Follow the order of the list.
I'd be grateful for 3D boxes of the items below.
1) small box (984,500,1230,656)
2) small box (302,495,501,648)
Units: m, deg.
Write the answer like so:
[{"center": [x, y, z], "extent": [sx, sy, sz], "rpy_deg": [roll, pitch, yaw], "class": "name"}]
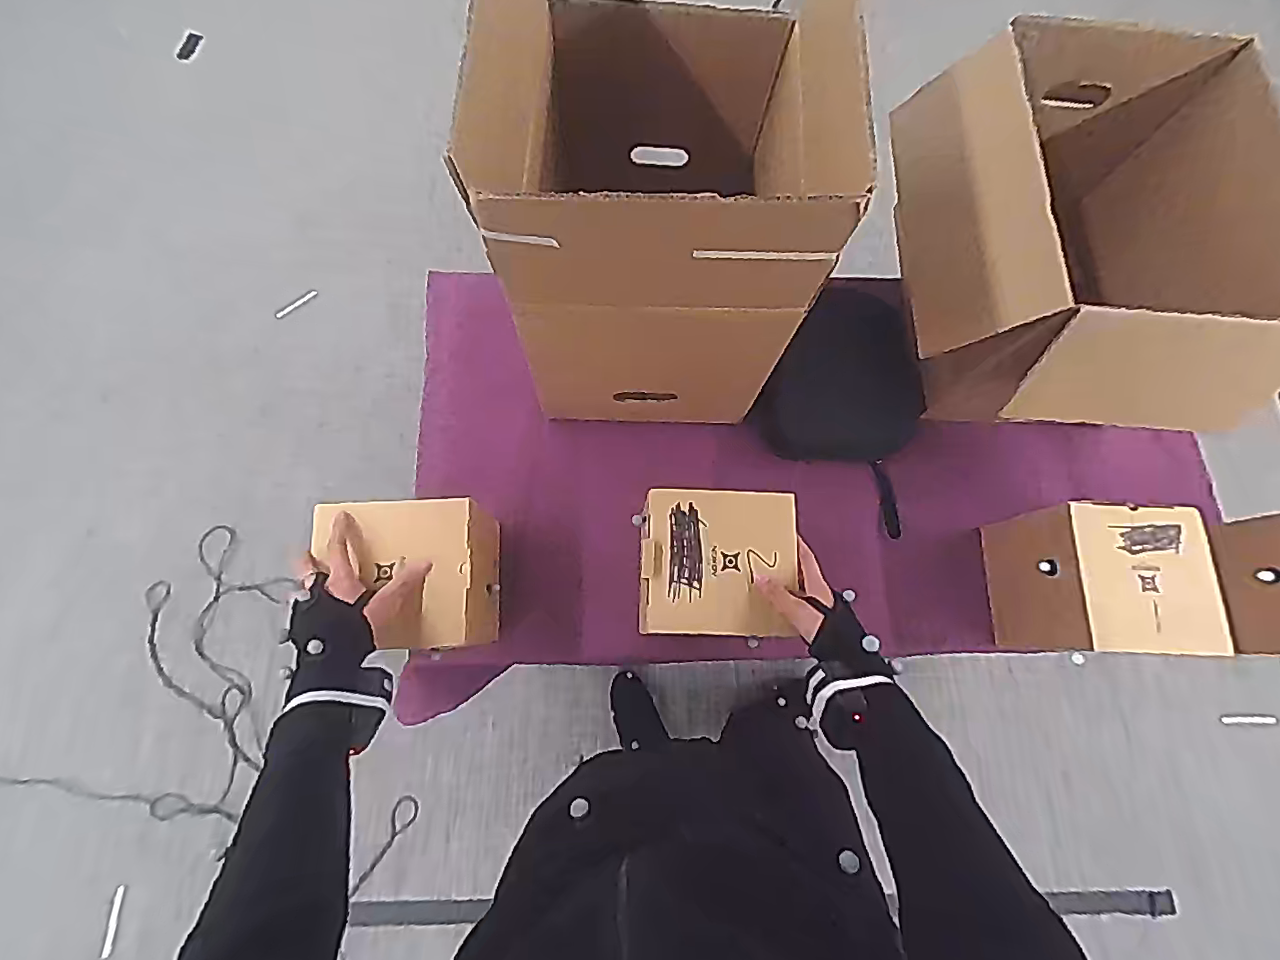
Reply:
[{"center": [0.585, 0.133, 0.707], "extent": [0.168, 0.176, 0.179], "rpy_deg": [2, 75, -2], "class": "small box"}, {"center": [-0.280, 0.121, 0.675], "extent": [0.179, 0.176, 0.168], "rpy_deg": [-2, 75, -5], "class": "small box"}]
